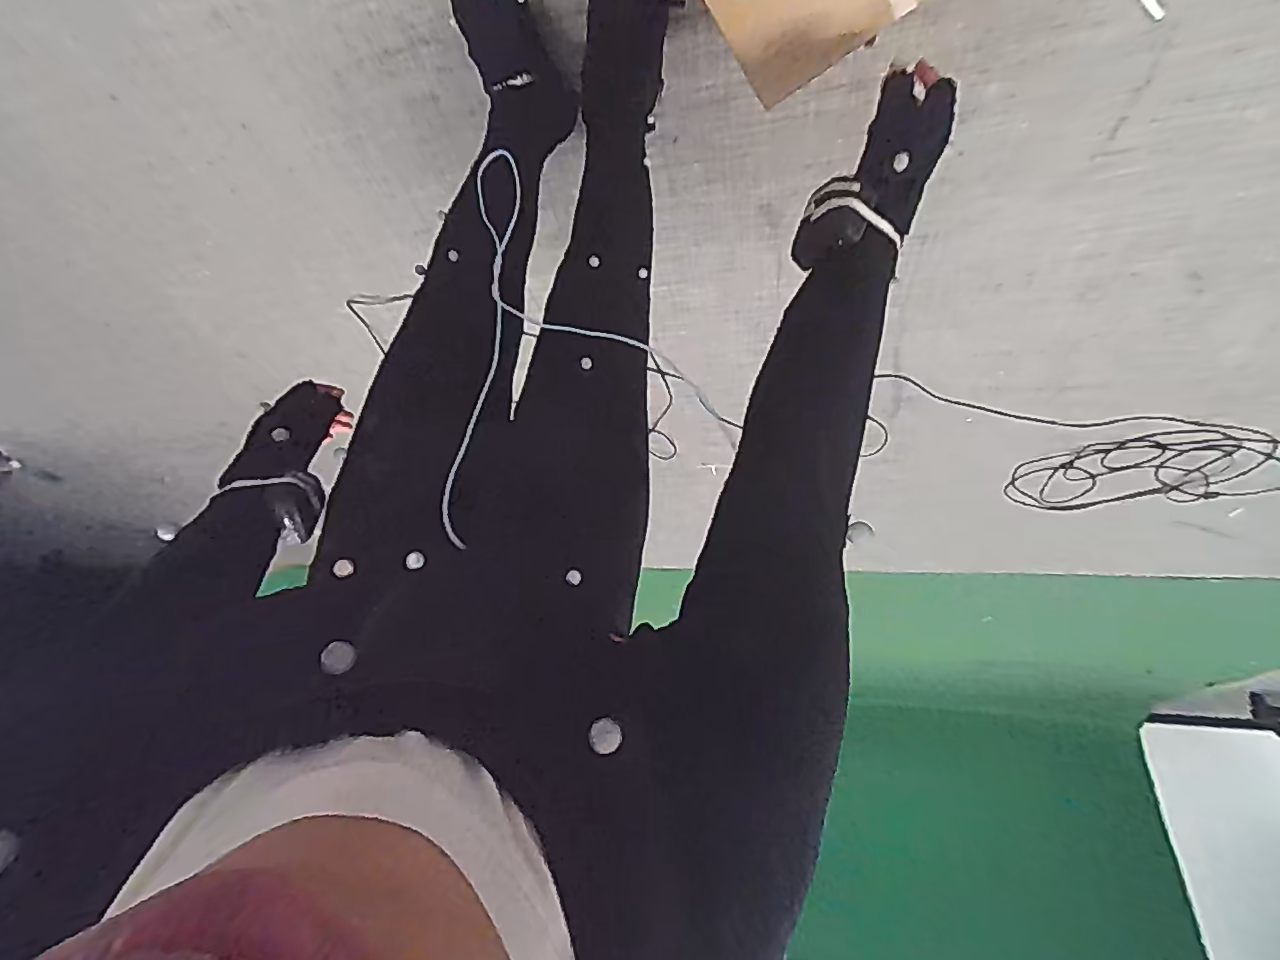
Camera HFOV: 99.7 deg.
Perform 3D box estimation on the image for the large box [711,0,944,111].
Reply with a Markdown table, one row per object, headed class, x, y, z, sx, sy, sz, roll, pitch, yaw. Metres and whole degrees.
| class | x | y | z | sx | sy | sz | roll | pitch | yaw |
| --- | --- | --- | --- | --- | --- | --- | --- | --- | --- |
| large box | 0.176 | -0.692 | 0.512 | 0.320 | 0.320 | 0.408 | -18 | 141 | 37 |
